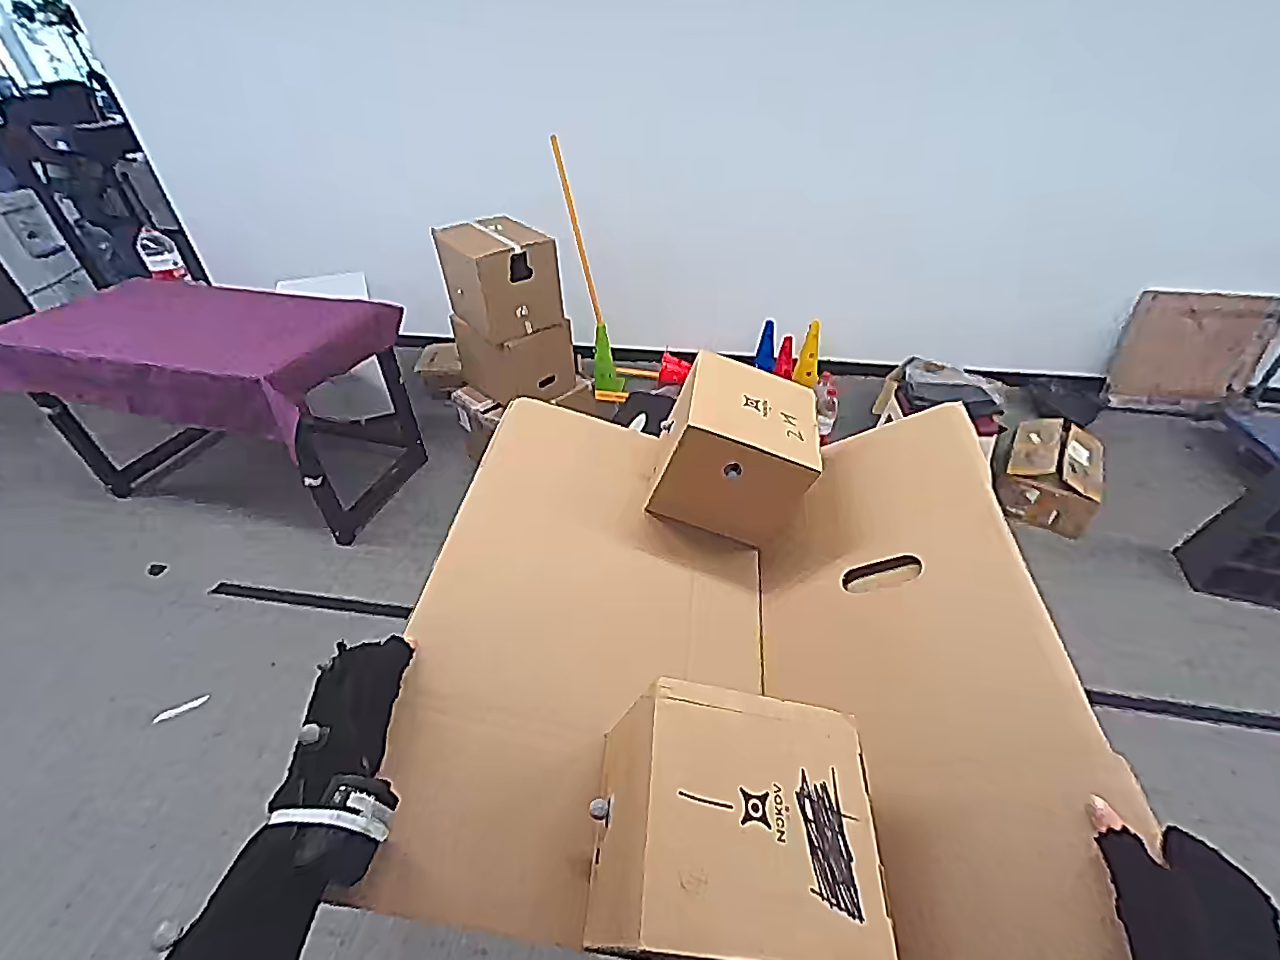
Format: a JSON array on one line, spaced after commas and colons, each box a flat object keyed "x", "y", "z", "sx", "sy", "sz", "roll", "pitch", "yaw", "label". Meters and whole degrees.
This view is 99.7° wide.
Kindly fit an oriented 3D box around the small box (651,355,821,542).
[{"x": 0.128, "y": -0.038, "z": 0.753, "sx": 0.179, "sy": 0.176, "sz": 0.168, "roll": 20, "pitch": 46, "yaw": -6, "label": "small box"}]
